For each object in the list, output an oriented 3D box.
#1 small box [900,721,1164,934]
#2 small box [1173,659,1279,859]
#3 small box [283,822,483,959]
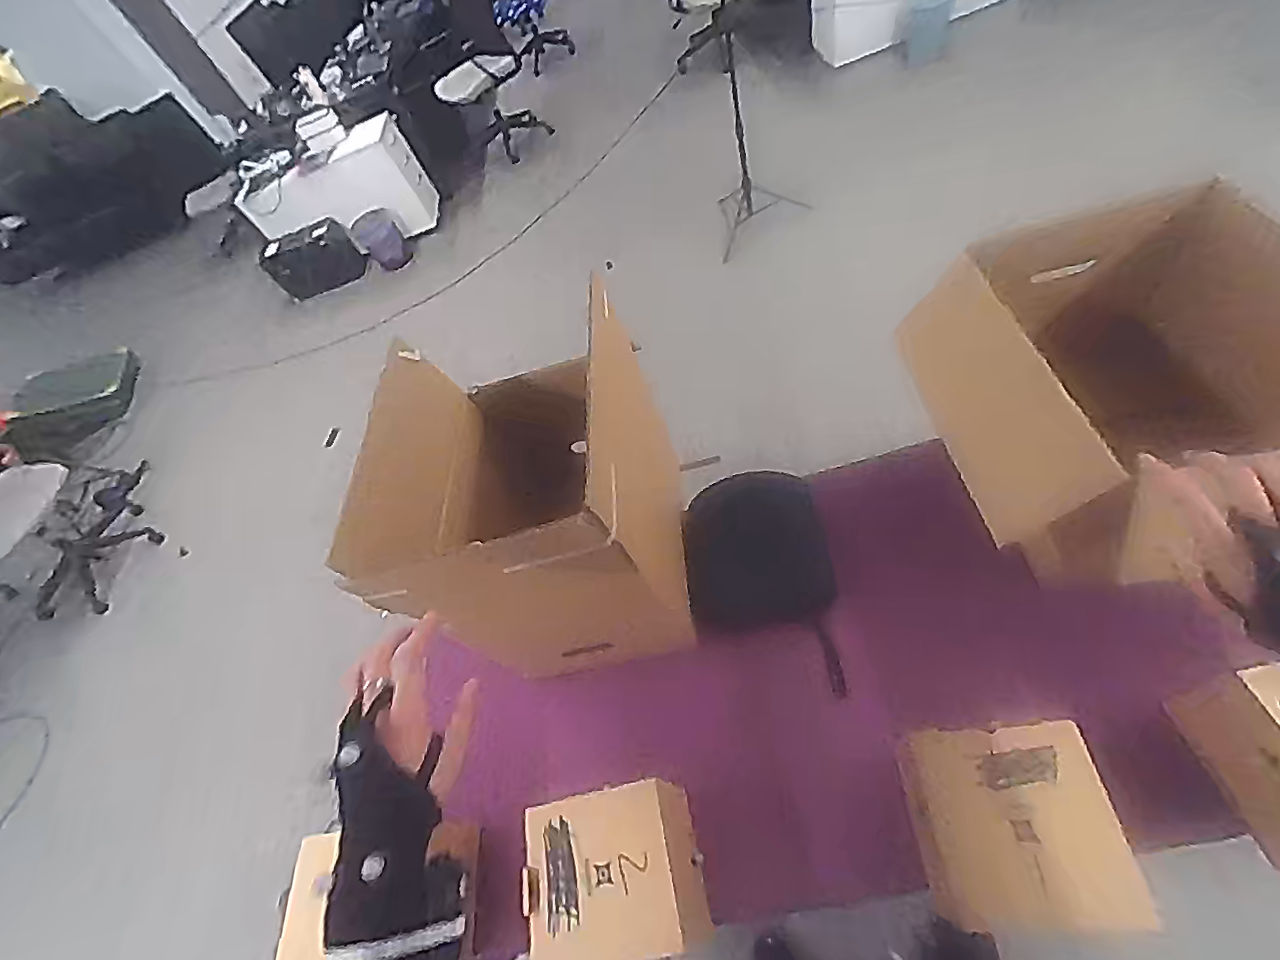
[{"bbox_3d":[0.403,0.380,0.601,0.168,0.176,0.179,-11,56,14],"label":"small box"},{"bbox_3d":[0.717,0.281,0.548,0.168,0.176,0.179,-18,53,10],"label":"small box"},{"bbox_3d":[-0.342,0.580,0.743,0.179,0.176,0.168,-14,54,10],"label":"small box"}]
